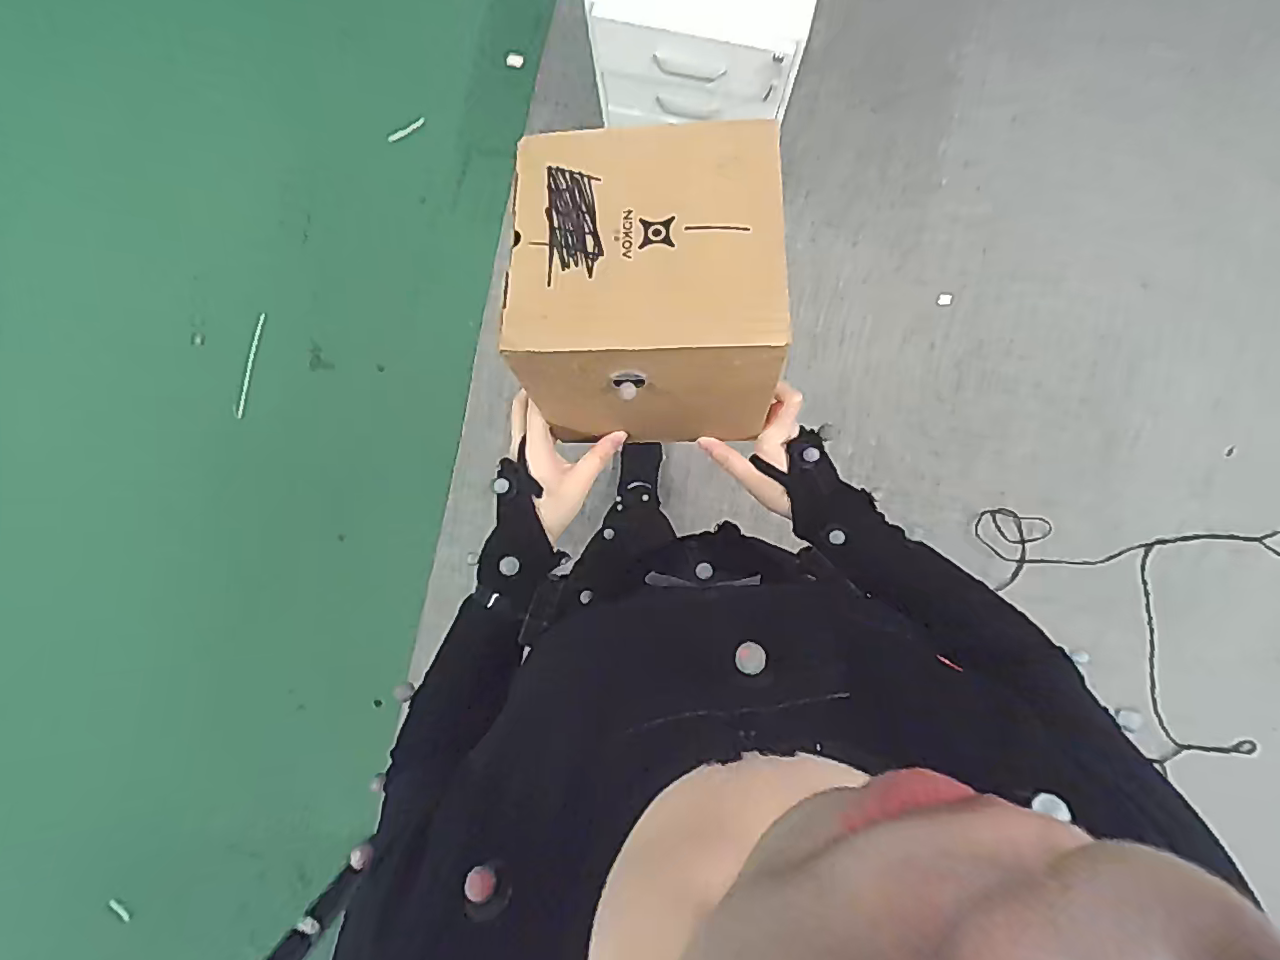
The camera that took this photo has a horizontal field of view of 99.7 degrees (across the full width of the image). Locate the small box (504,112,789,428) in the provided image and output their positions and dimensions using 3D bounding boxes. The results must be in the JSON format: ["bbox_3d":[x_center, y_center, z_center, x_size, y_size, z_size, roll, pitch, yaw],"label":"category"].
[{"bbox_3d":[0.011,-0.145,0.422,0.179,0.176,0.168,0,75,5],"label":"small box"}]
